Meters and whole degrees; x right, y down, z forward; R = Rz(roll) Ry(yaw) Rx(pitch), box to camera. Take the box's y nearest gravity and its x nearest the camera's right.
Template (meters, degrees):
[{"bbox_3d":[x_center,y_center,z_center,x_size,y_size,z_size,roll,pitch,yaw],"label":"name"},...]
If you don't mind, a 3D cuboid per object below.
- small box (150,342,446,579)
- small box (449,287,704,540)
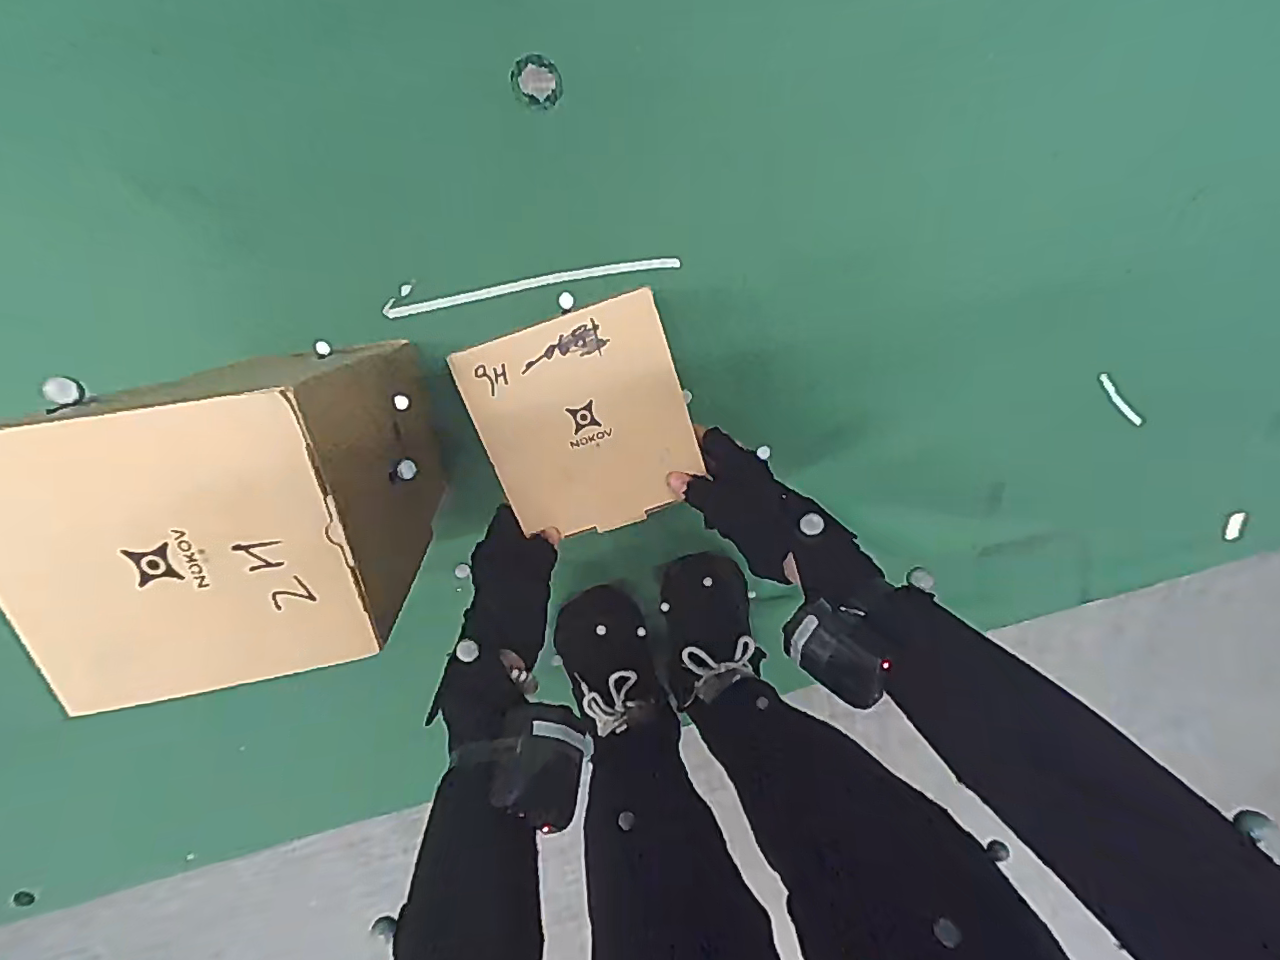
[{"bbox_3d":[-0.299,-0.031,0.524,0.168,0.176,0.179,-9,110,-7],"label":"small box"},{"bbox_3d":[-0.050,-0.074,0.513,0.168,0.176,0.179,-18,110,1],"label":"small box"}]
